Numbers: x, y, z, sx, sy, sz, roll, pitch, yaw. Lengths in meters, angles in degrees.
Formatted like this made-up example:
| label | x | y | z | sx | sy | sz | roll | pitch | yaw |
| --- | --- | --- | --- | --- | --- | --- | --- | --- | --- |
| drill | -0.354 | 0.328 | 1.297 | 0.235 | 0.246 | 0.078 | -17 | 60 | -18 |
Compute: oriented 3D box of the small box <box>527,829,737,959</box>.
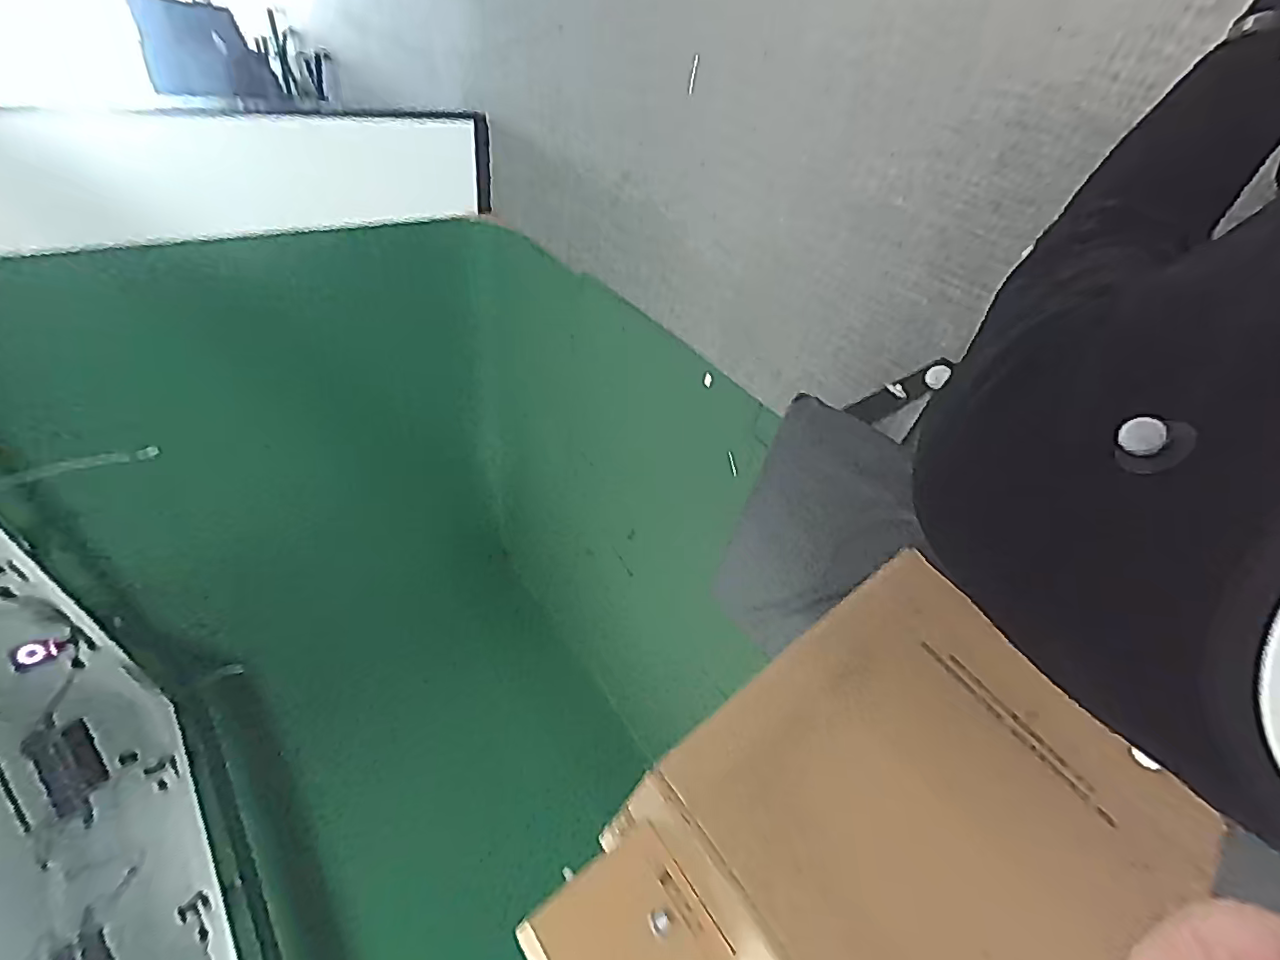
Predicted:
| label | x | y | z | sx | sy | sz | roll | pitch | yaw |
| --- | --- | --- | --- | --- | --- | --- | --- | --- | --- |
| small box | -0.012 | 0.555 | 0.634 | 0.168 | 0.176 | 0.179 | 47 | 140 | 27 |
